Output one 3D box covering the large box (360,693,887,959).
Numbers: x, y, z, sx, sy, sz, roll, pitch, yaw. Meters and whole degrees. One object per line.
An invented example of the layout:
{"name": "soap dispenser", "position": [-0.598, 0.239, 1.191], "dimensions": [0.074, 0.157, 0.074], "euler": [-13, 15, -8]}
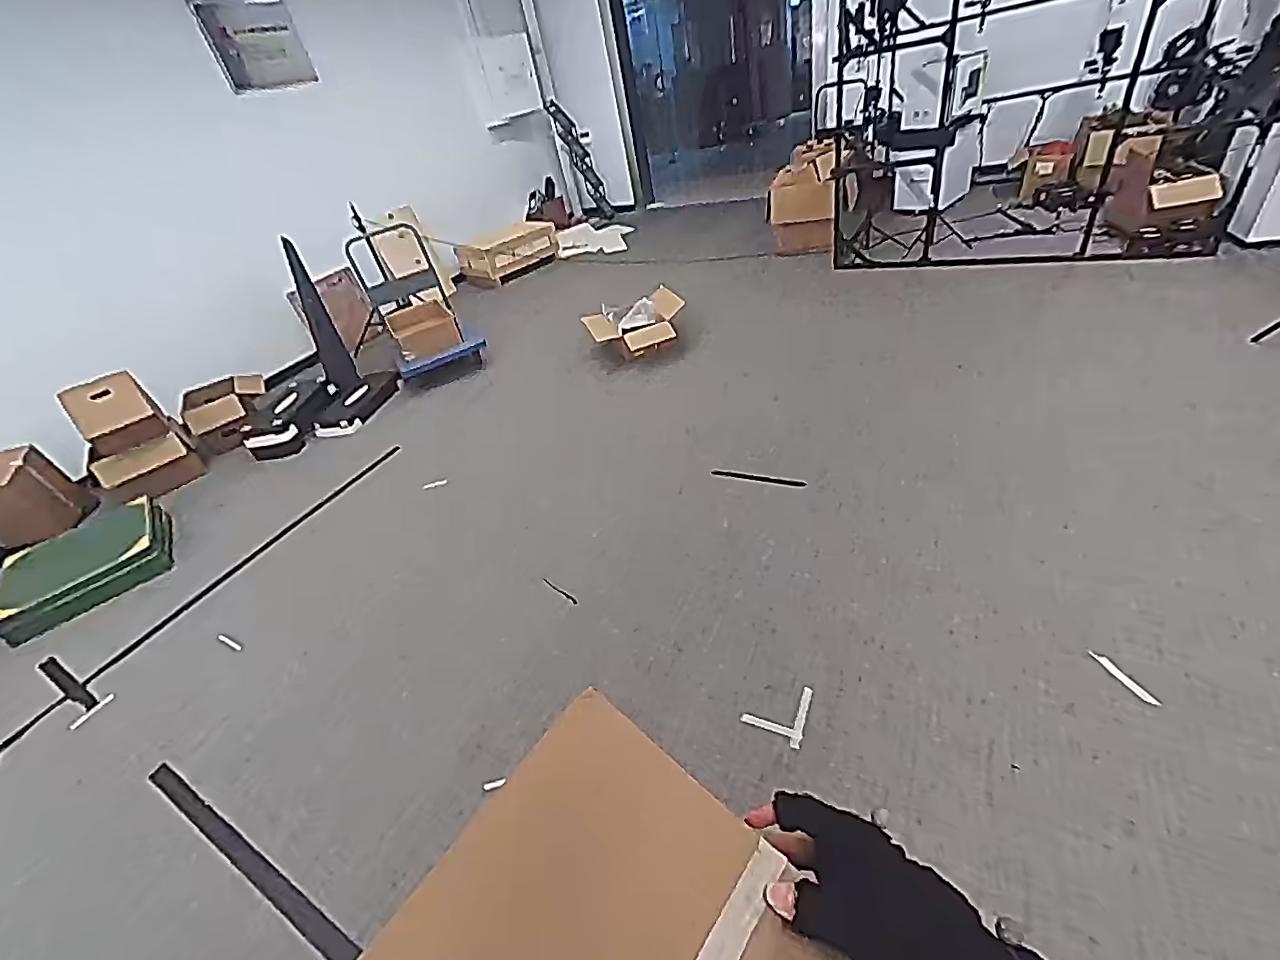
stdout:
{"name": "large box", "position": [-0.069, 0.439, 0.382], "dimensions": [0.320, 0.320, 0.408], "euler": [39, 60, 11]}
